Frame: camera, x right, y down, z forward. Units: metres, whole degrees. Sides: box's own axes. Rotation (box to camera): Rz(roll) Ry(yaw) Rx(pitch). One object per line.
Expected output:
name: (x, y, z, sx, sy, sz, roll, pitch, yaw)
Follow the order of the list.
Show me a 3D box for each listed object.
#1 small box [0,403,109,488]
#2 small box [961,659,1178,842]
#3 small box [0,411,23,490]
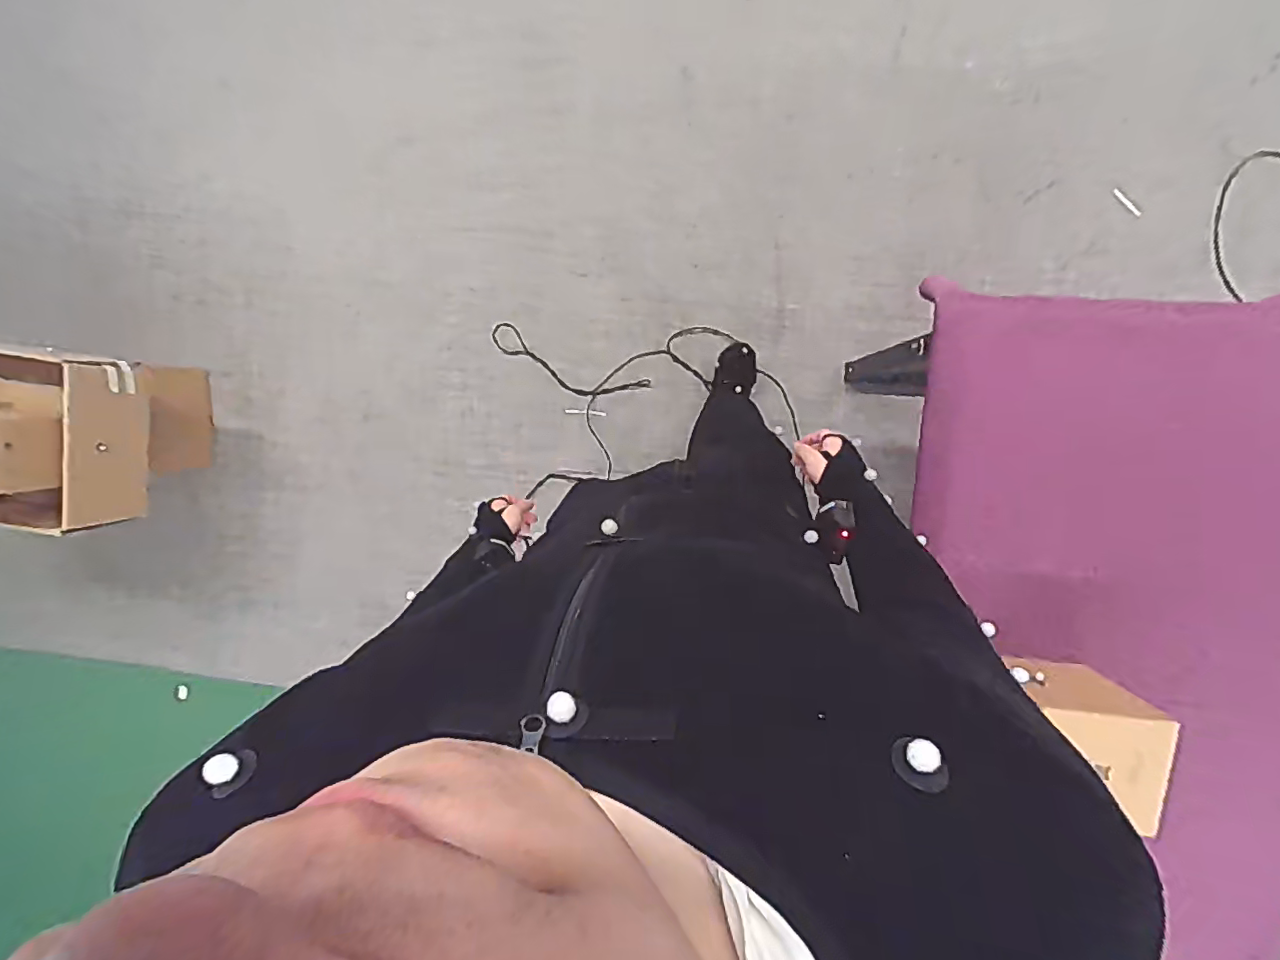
small box: (-1.398, -0.084, 1.250, 0.179, 0.176, 0.168, 10, 98, 6)
small box: (0.606, 0.380, 0.790, 0.179, 0.176, 0.168, 6, 98, 4)
small box: (-1.415, -0.065, 1.089, 0.179, 0.176, 0.168, 9, 97, 5)
